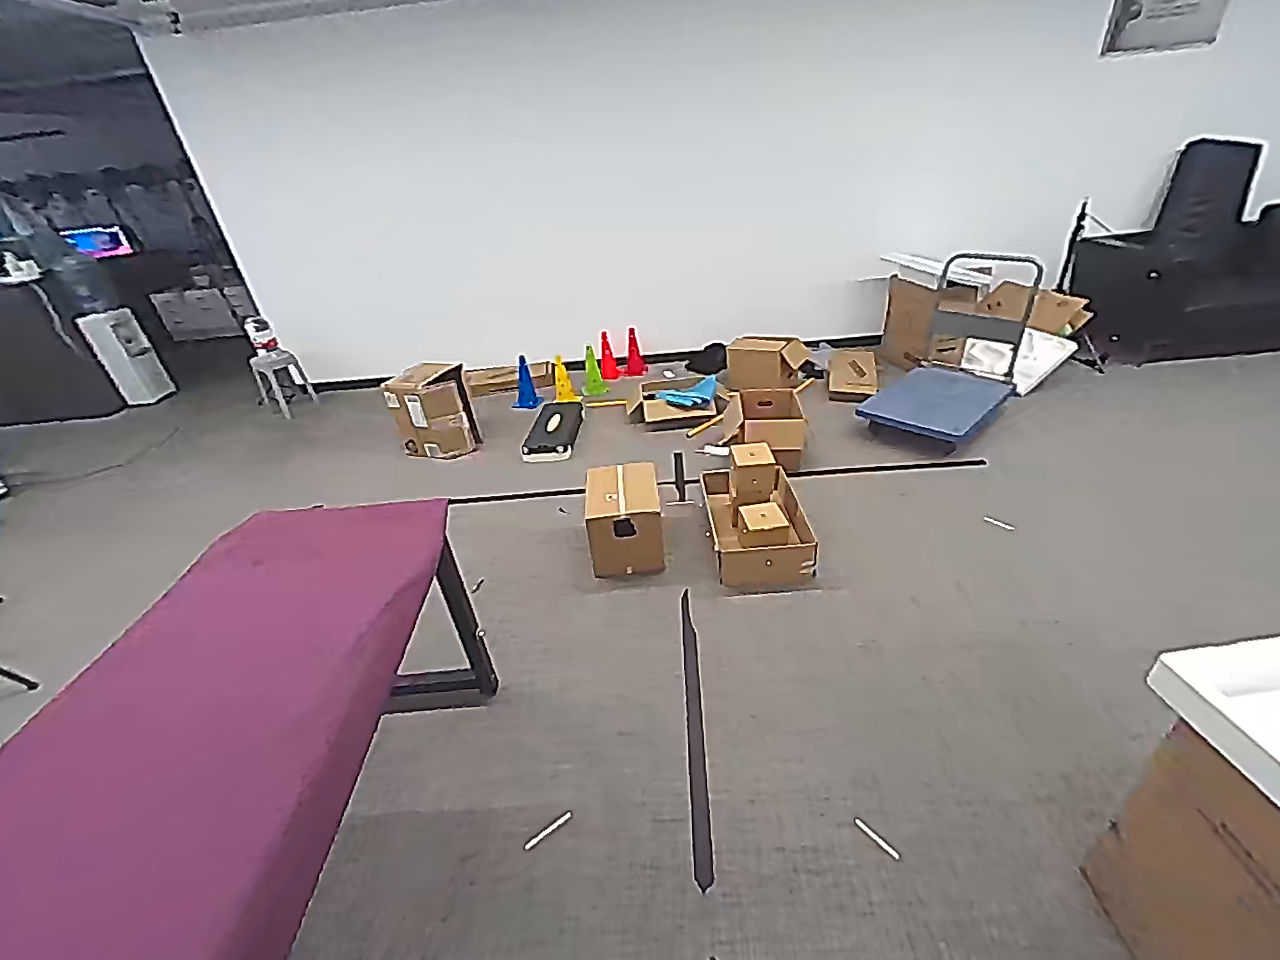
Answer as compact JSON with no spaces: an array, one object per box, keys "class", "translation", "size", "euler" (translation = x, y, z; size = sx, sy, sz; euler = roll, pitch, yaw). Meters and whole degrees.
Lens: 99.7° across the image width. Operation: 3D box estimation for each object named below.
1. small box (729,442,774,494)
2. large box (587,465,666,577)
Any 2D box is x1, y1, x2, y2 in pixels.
[{"class":"small box","translation":[0.490,-0.048,2.395],"size":[0.168,0.176,0.179],"euler":[-4,33,0]},{"class":"large box","translation":[-0.063,0.174,2.409],"size":[0.320,0.320,0.408],"euler":[-7,32,0]}]
